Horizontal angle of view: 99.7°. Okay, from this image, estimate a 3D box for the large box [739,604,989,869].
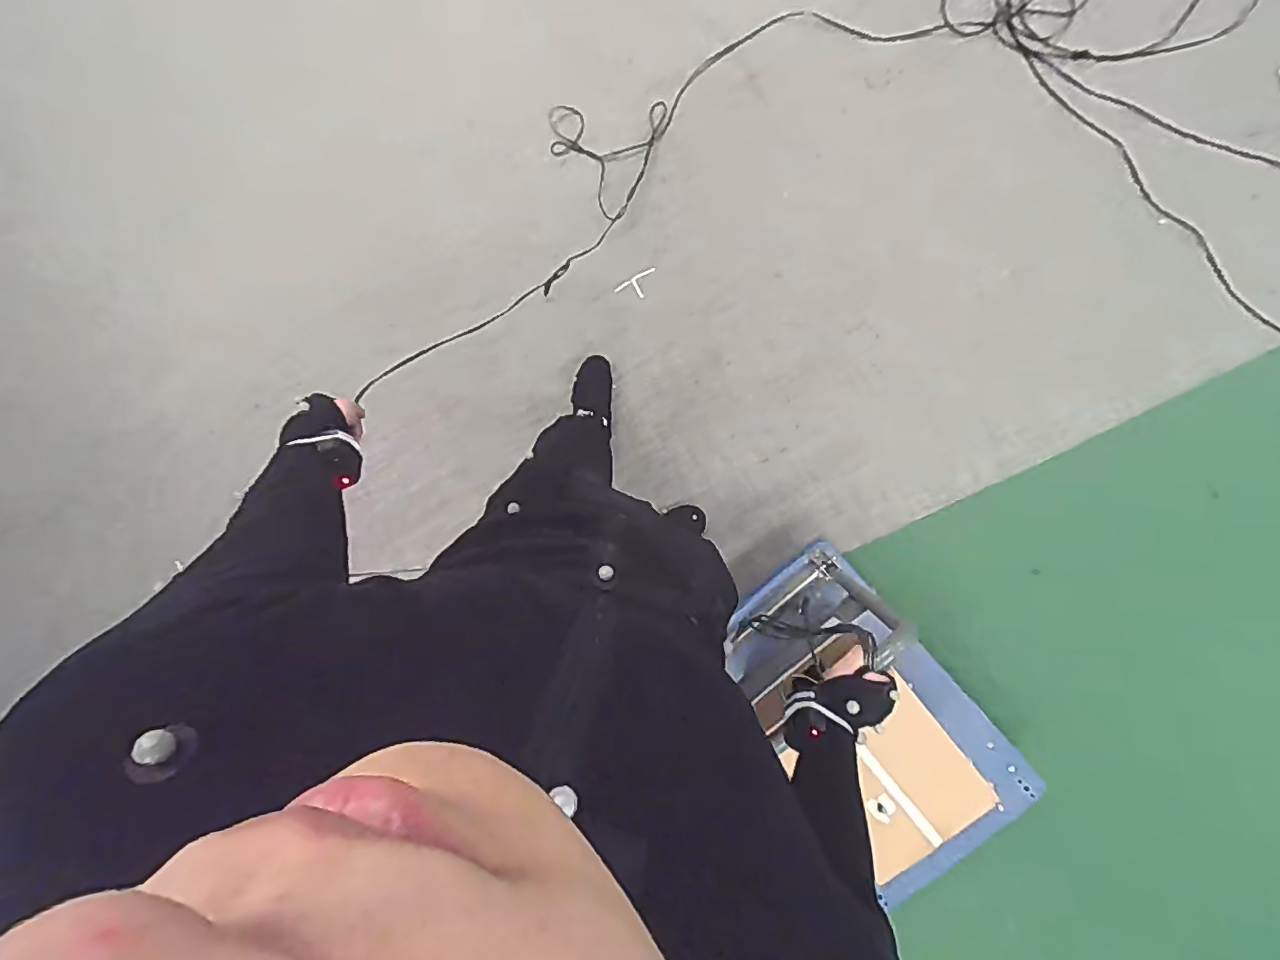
[{"bbox_3d":[0.494,0.574,1.283,0.320,0.320,0.408,-39,91,6],"label":"large box"}]
